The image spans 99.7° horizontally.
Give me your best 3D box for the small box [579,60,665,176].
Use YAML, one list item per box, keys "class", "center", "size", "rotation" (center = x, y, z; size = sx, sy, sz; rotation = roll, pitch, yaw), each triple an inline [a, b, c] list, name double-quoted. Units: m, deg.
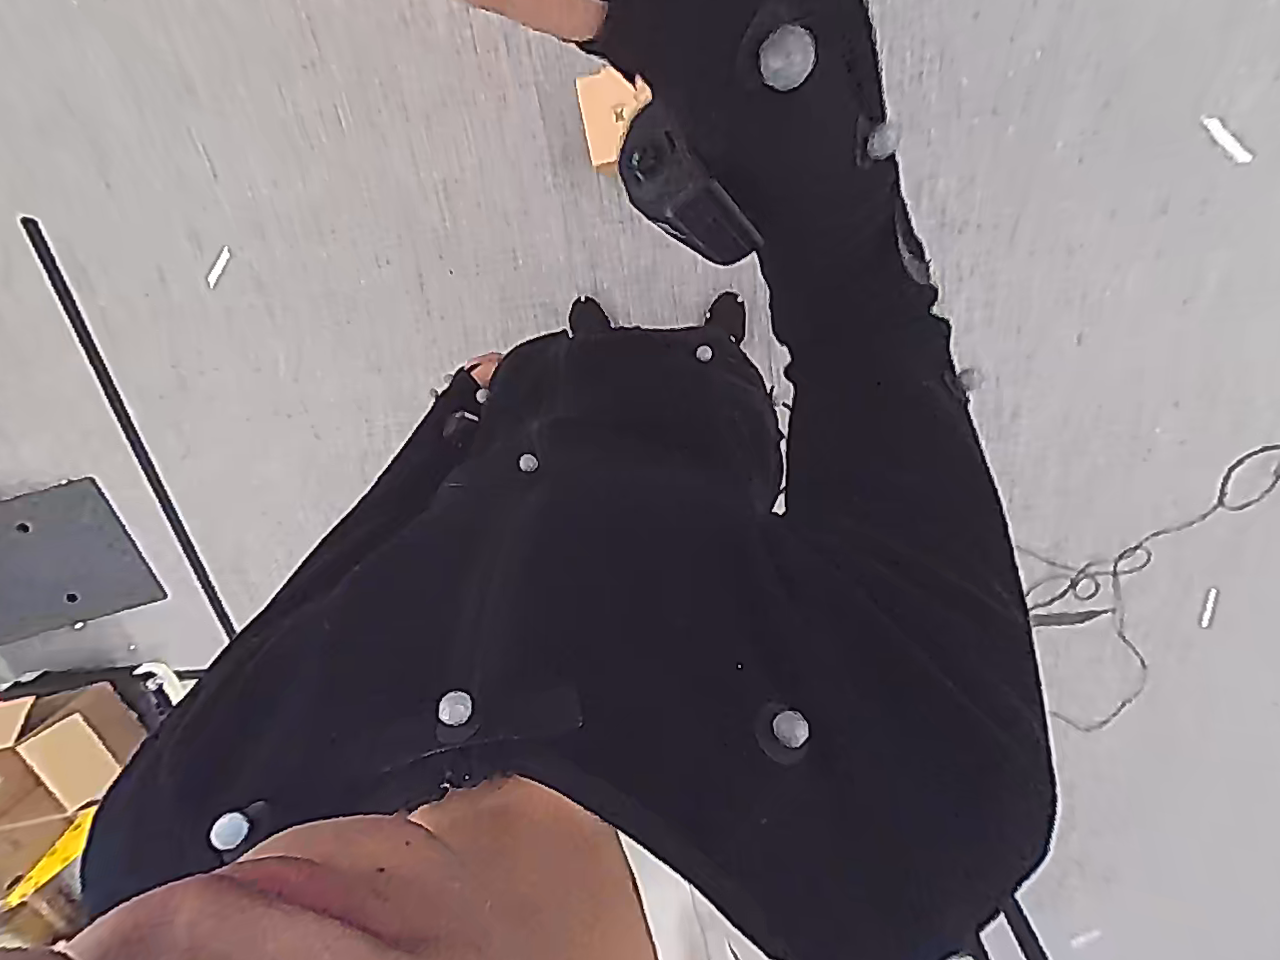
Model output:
- class: "small box"
  center: [-0.036, -0.844, 1.278]
  size: [0.168, 0.176, 0.179]
  rotation: [-9, 110, 9]
